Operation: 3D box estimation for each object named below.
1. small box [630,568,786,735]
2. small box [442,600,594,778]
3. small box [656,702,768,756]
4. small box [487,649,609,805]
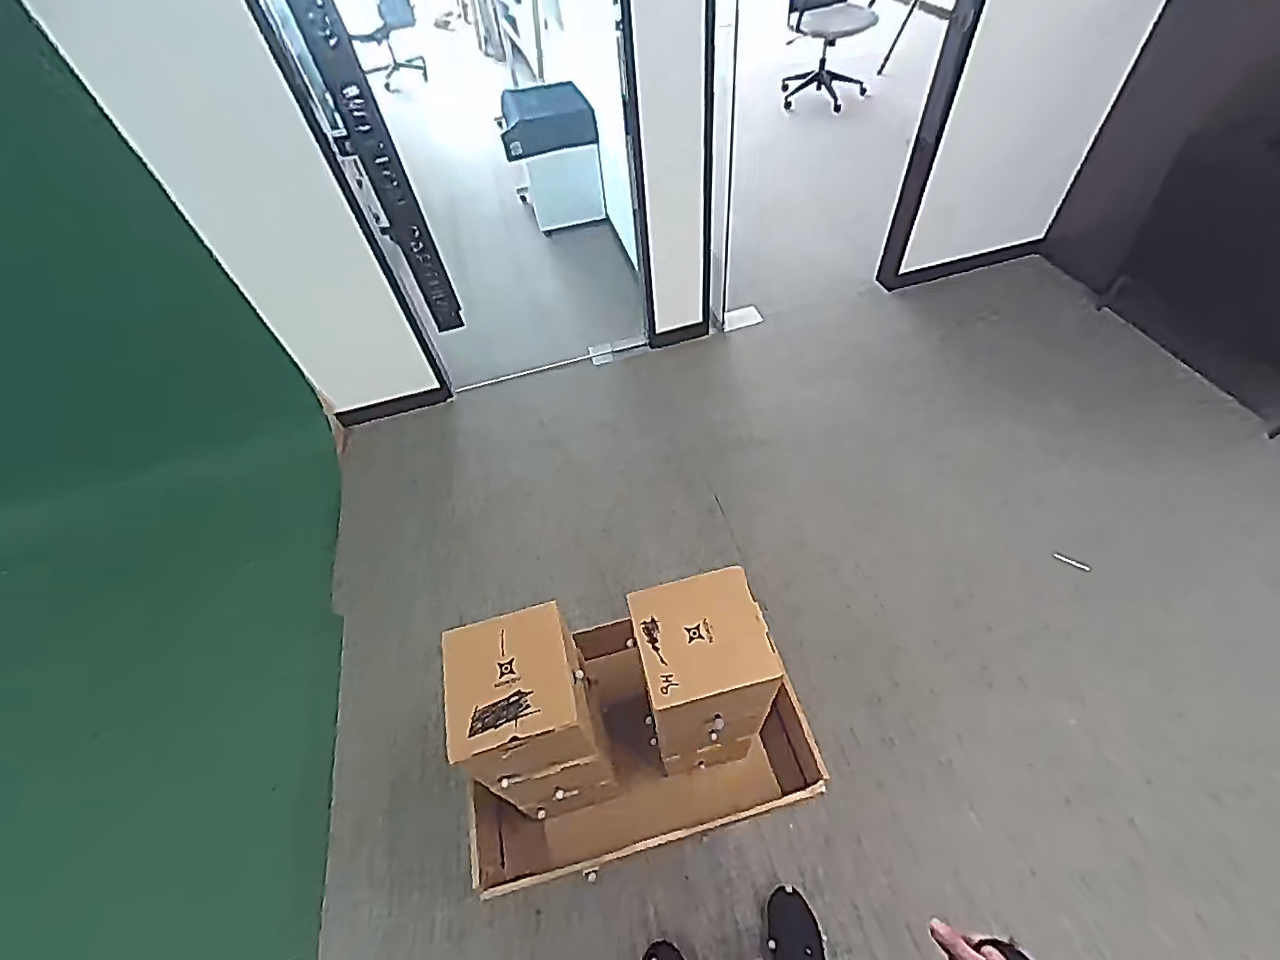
[{"bbox_3d":[0.088,0.253,0.789,0.179,0.176,0.168,-12,53,-5],"label":"small box"},{"bbox_3d":[-0.169,0.303,0.768,0.168,0.176,0.179,-14,51,-7],"label":"small box"},{"bbox_3d":[0.100,0.351,0.920,0.179,0.176,0.168,-12,54,-5],"label":"small box"},{"bbox_3d":[-0.152,0.409,0.892,0.168,0.176,0.179,-13,52,-5],"label":"small box"}]
